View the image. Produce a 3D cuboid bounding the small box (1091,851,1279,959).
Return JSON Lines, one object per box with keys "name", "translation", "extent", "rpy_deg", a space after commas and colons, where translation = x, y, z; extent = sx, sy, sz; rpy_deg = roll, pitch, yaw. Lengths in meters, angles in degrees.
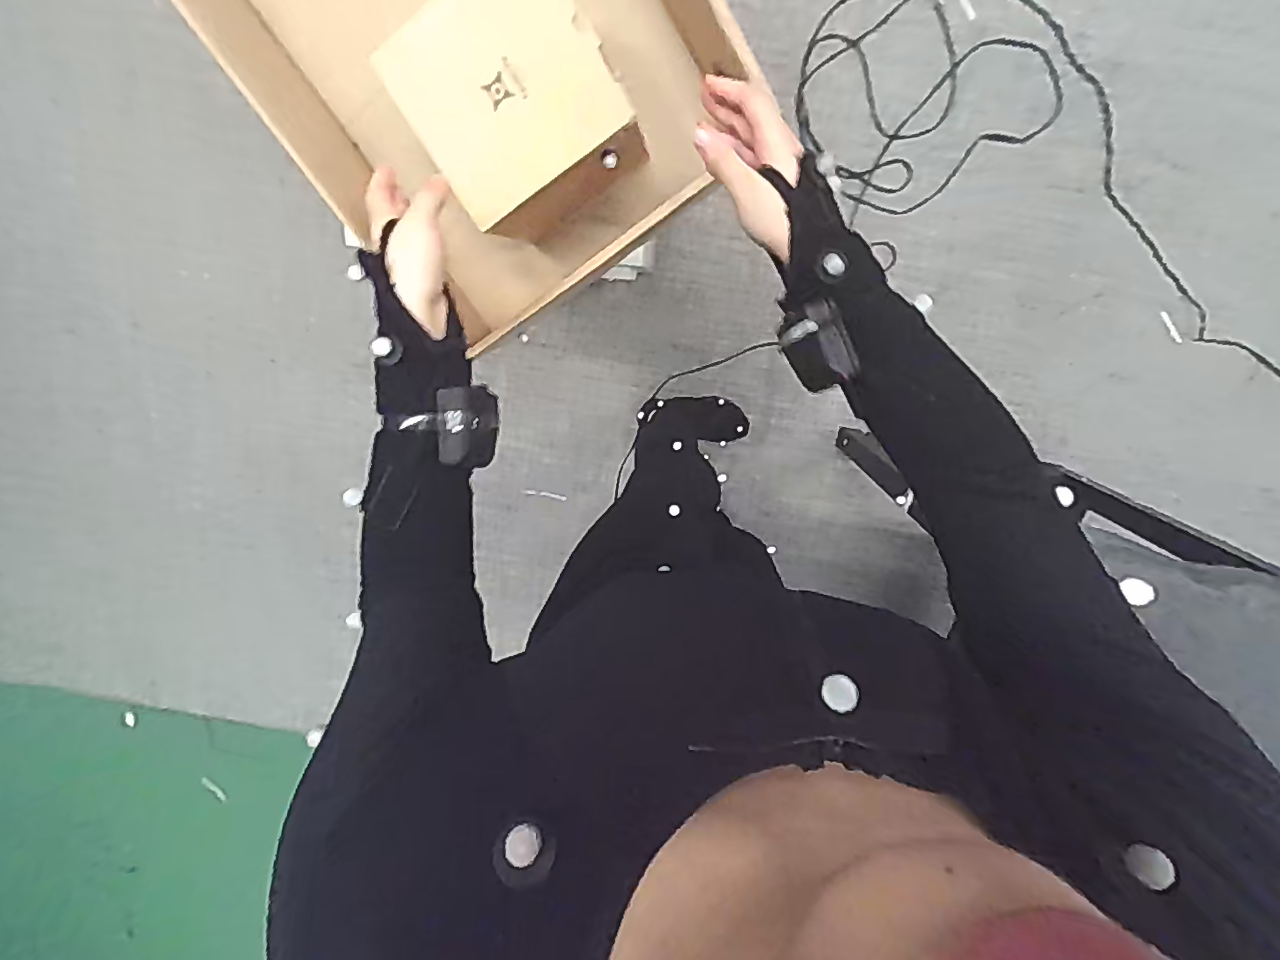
{"name": "small box", "translation": [0.625, 0.532, 0.556], "extent": [0.168, 0.176, 0.179], "rpy_deg": [10, 110, -1]}
